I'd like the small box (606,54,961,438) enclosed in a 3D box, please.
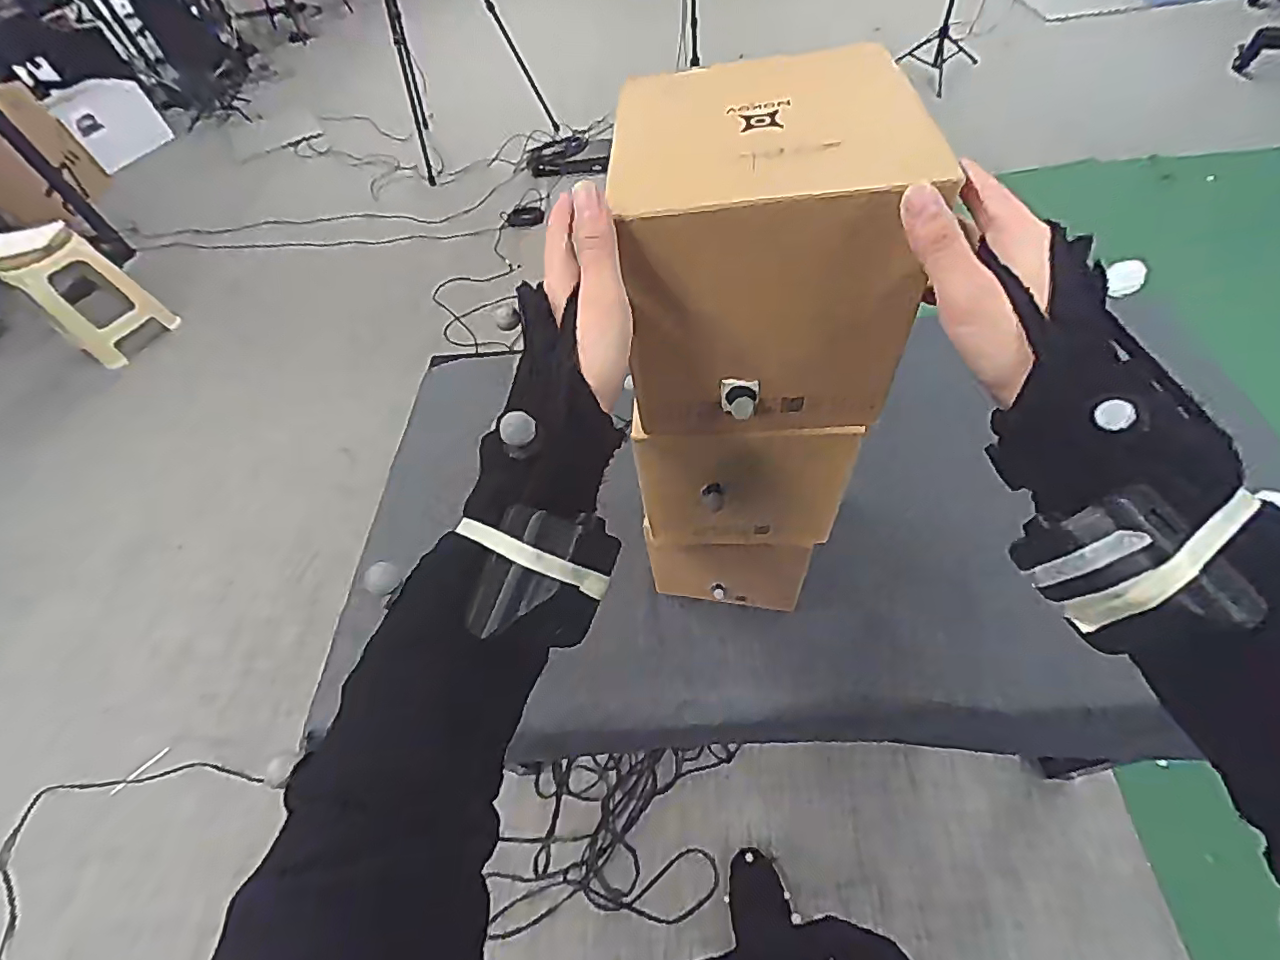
[{"bbox_3d":[0.077,-0.148,0.364,0.168,0.176,0.179,-2,55,7],"label":"small box"}]

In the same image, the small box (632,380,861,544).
[{"bbox_3d":[0.090,-0.051,0.495,0.168,0.176,0.179,-1,54,8],"label":"small box"}]
